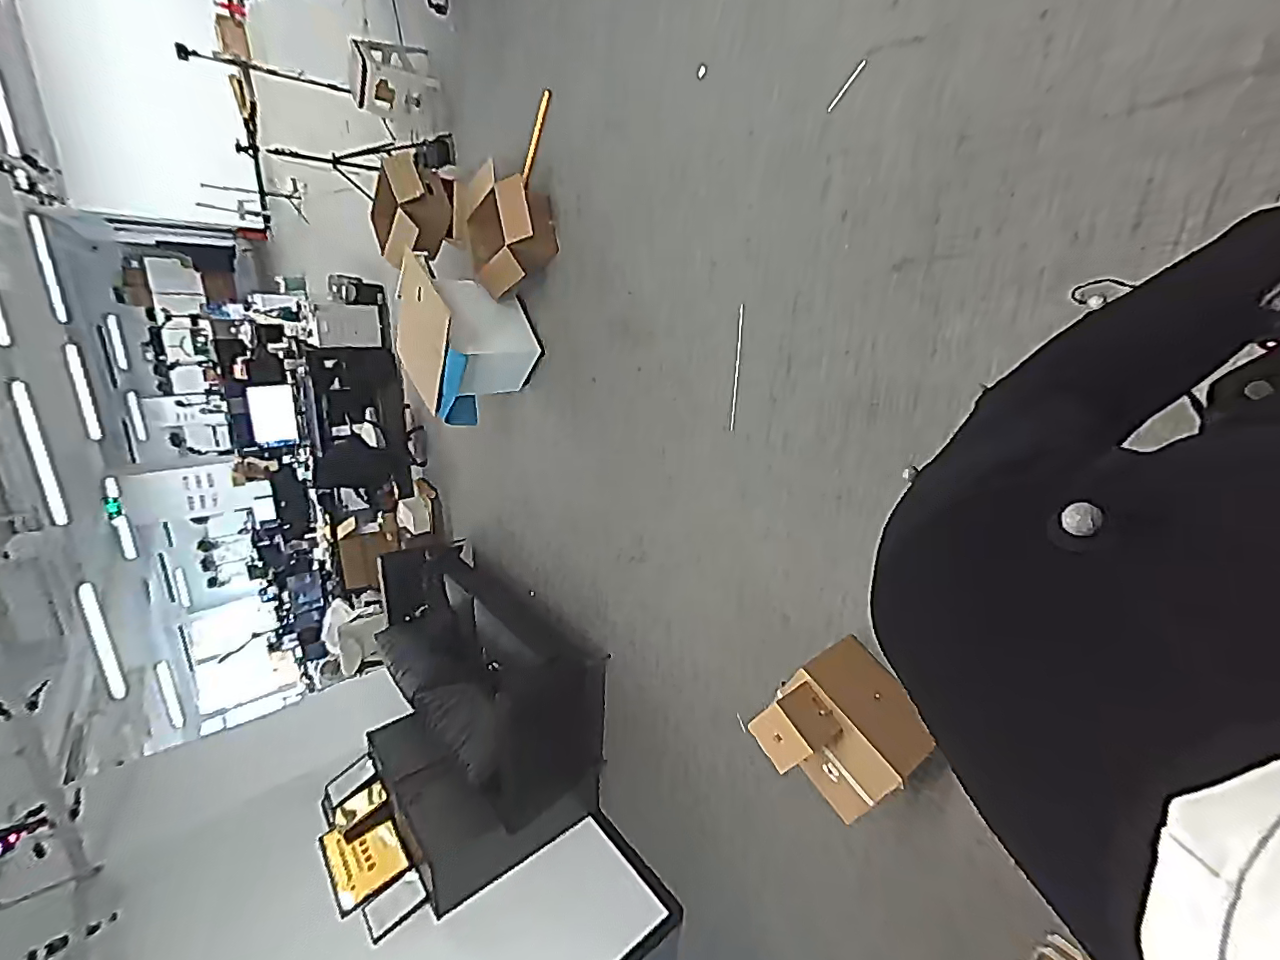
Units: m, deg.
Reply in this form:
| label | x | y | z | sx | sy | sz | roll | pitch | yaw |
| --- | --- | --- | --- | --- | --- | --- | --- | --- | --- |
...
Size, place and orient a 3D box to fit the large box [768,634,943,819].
| label | x | y | z | sx | sy | sz | roll | pitch | yaw |
| --- | --- | --- | --- | --- | --- | --- | --- | --- | --- |
| large box | 0.693 | 0.802 | 1.805 | 0.408 | 0.320 | 0.320 | 46 | 133 | 31 |

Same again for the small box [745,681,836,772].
| label | x | y | z | sx | sy | sz | roll | pitch | yaw |
| --- | --- | --- | --- | --- | --- | --- | --- | --- | --- |
| small box | 0.469 | 0.760 | 1.673 | 0.168 | 0.176 | 0.179 | 52 | 133 | 27 |
